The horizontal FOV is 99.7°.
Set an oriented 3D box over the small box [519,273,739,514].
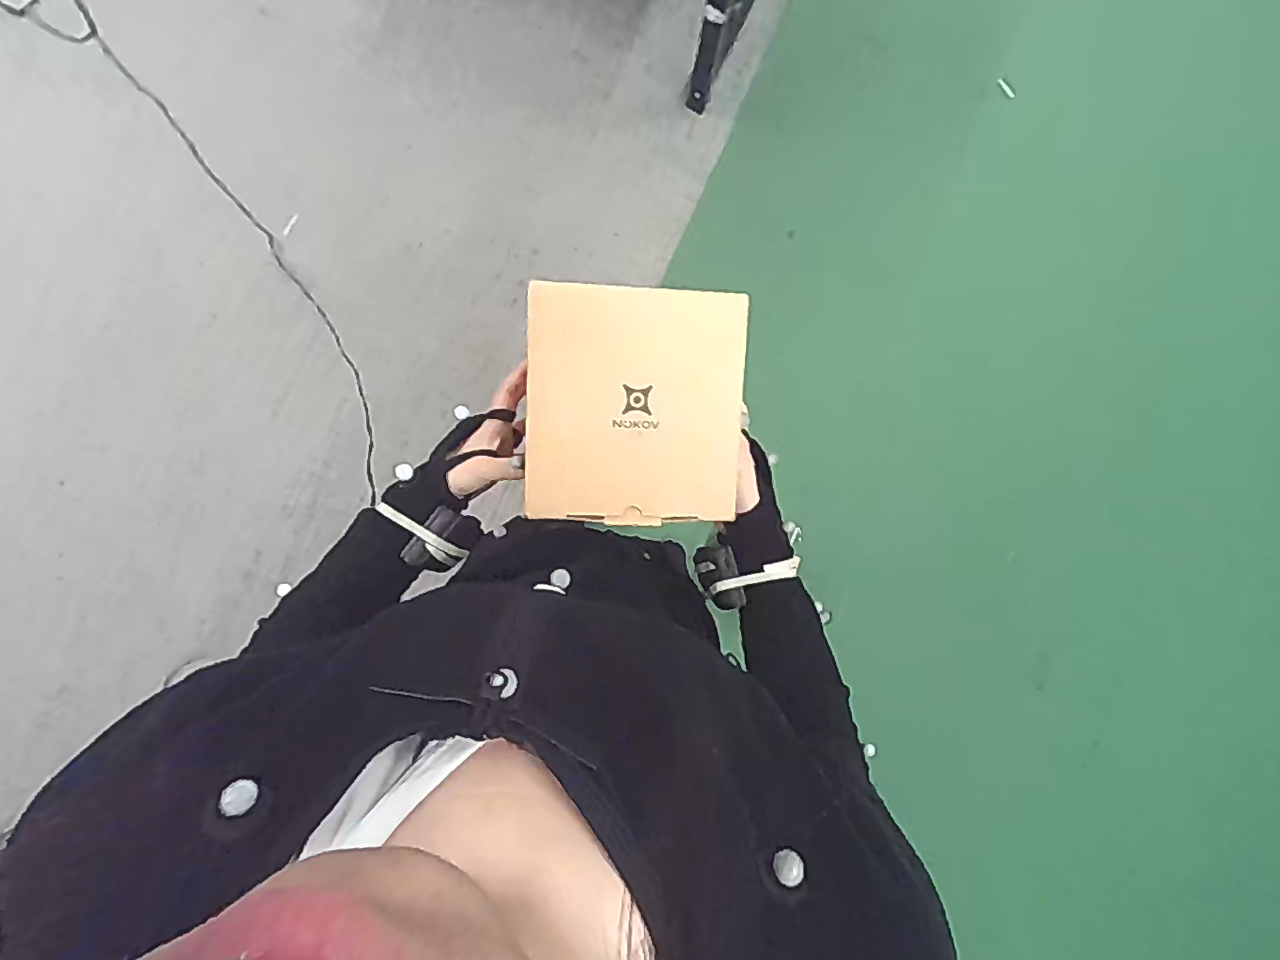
[{"bbox_3d":[-0.020,-0.070,0.484,0.168,0.176,0.179,1,97,-8],"label":"small box"}]
